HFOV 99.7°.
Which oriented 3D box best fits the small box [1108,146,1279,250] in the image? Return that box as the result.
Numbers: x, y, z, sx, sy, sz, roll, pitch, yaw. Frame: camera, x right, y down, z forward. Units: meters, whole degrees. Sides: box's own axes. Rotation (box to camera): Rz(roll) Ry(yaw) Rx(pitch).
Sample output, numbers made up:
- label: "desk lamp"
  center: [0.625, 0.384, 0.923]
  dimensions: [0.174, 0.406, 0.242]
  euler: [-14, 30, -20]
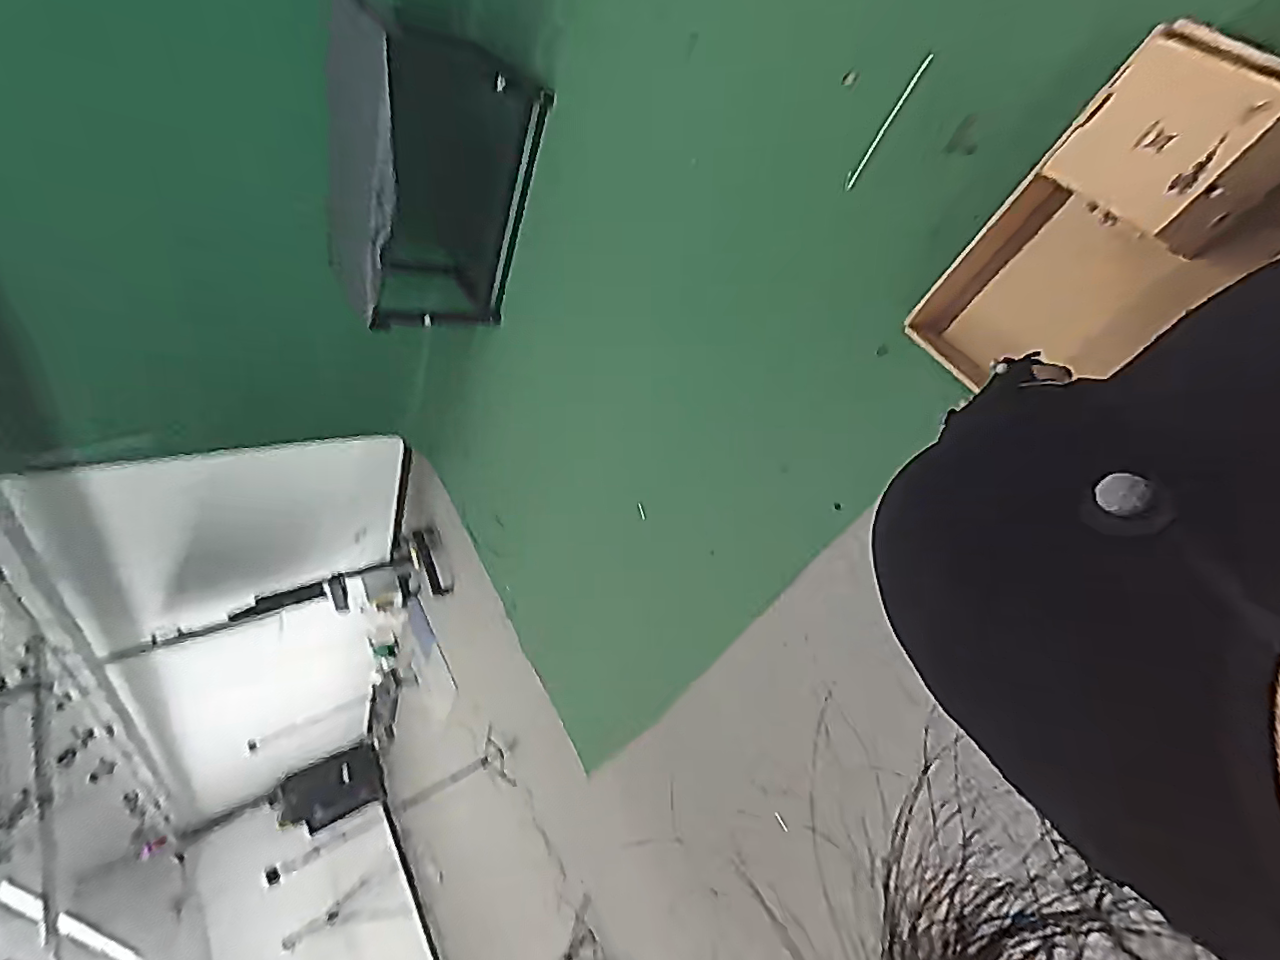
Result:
- label: "small box"
  center: [0.818, -0.473, 0.827]
  dimensions: [0.179, 0.176, 0.168]
  euler: [55, 136, 23]

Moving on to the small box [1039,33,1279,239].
- label: "small box"
  center: [0.695, -0.443, 0.722]
  dimensions: [0.179, 0.176, 0.168]
  euler: [54, 136, 26]
